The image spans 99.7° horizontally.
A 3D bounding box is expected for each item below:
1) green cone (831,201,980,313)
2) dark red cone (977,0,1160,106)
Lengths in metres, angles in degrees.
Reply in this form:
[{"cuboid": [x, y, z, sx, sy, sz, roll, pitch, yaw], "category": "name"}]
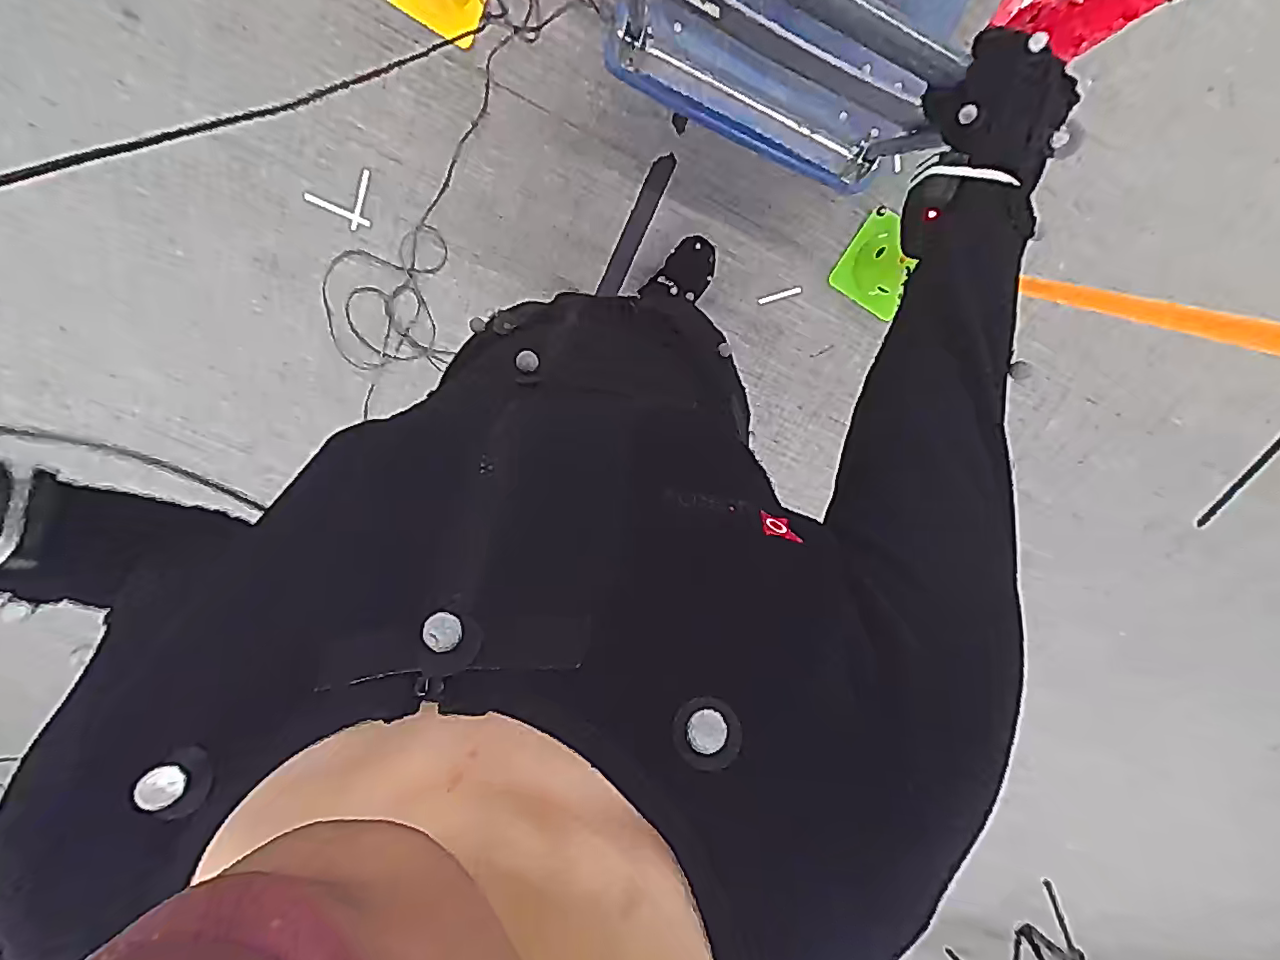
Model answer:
[{"cuboid": [0.592, -0.460, 1.147, 0.202, 0.368, 0.200, 27, 112, -13], "category": "green cone"}, {"cuboid": [0.820, -0.842, 0.954, 0.201, 0.394, 0.202, 23, 113, -12], "category": "dark red cone"}]
